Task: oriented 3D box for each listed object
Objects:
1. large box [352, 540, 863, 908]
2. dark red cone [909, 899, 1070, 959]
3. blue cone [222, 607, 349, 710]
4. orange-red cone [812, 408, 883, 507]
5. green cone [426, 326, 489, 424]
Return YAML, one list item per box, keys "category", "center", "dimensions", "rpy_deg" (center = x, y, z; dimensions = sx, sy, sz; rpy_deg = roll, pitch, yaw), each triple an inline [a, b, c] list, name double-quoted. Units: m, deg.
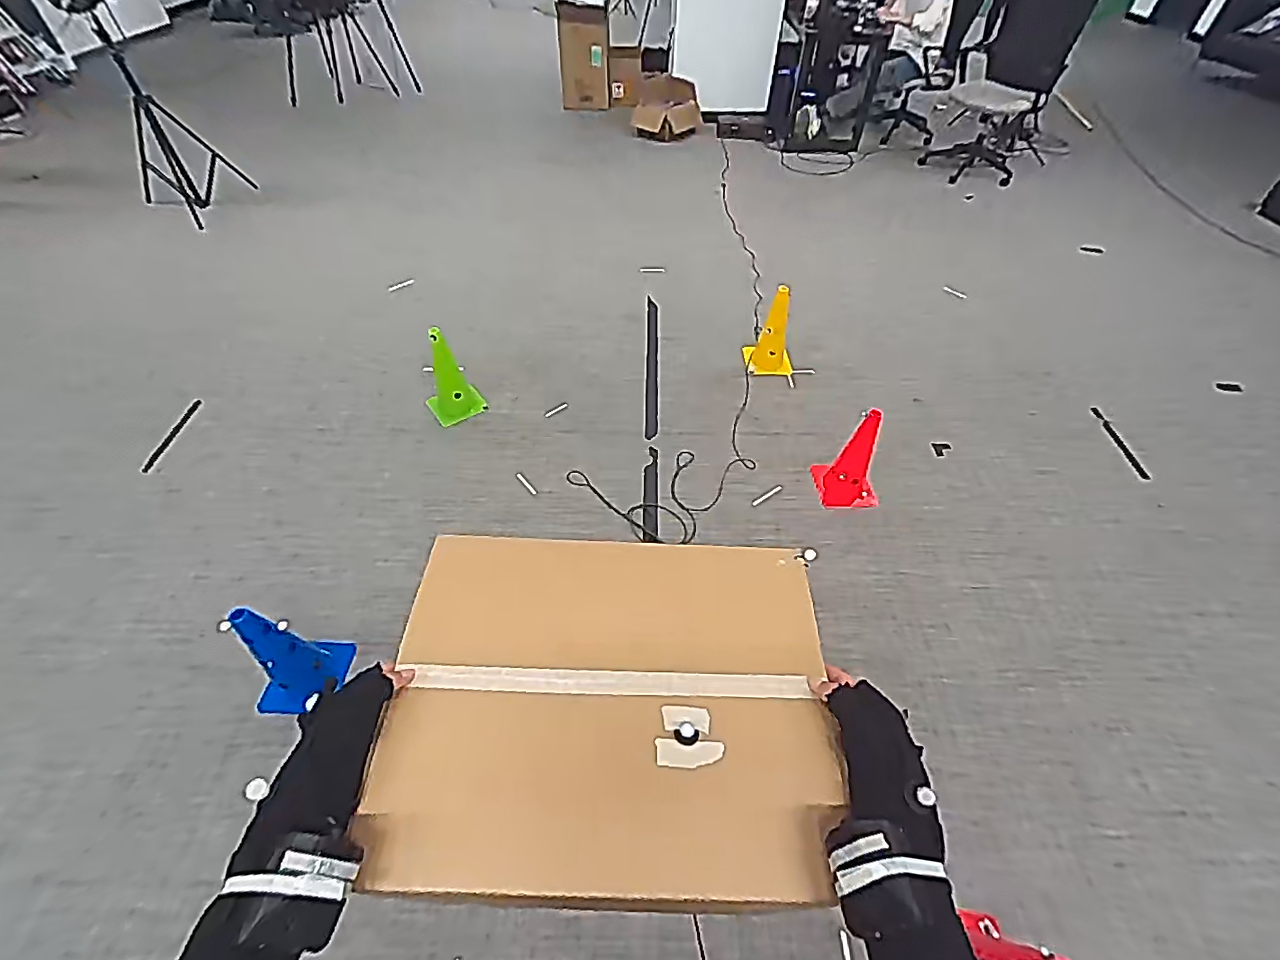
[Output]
- category: "large box"
  center: [-0.029, 0.287, 0.621]
  dimensions: [0.408, 0.320, 0.320]
  rpy_deg: [3, 50, -1]
- category: "dark red cone"
  center: [0.650, 0.865, 0.953]
  dimensions: [0.201, 0.394, 0.202]
  rpy_deg: [5, 49, 4]
- category: "blue cone"
  center: [-0.910, 0.423, 1.354]
  dimensions: [0.192, 0.380, 0.193]
  rpy_deg: [3, 49, 3]
- category: "orange-red cone"
  center: [0.736, -0.097, 1.823]
  dimensions: [0.198, 0.360, 0.199]
  rpy_deg: [0, 48, -3]
- category: "green cone"
  center: [-0.743, -0.431, 2.077]
  dimensions: [0.202, 0.368, 0.200]
  rpy_deg: [-30, 55, -23]
